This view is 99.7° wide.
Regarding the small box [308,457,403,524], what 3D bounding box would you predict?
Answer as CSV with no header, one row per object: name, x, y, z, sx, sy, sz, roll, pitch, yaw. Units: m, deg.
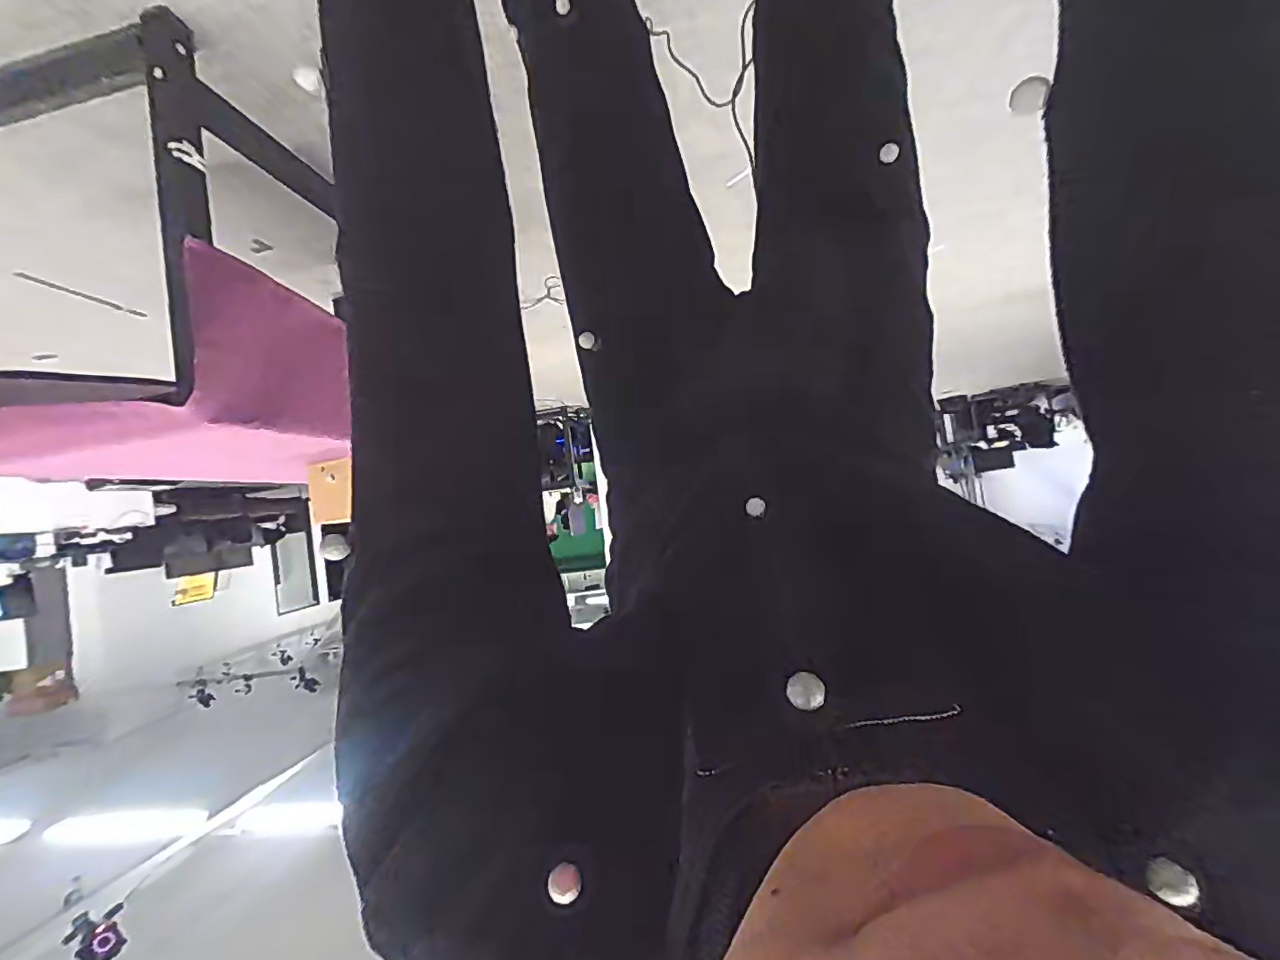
small box,-0.809,0.028,1.543,0.168,0.176,0.179,-9,177,18
